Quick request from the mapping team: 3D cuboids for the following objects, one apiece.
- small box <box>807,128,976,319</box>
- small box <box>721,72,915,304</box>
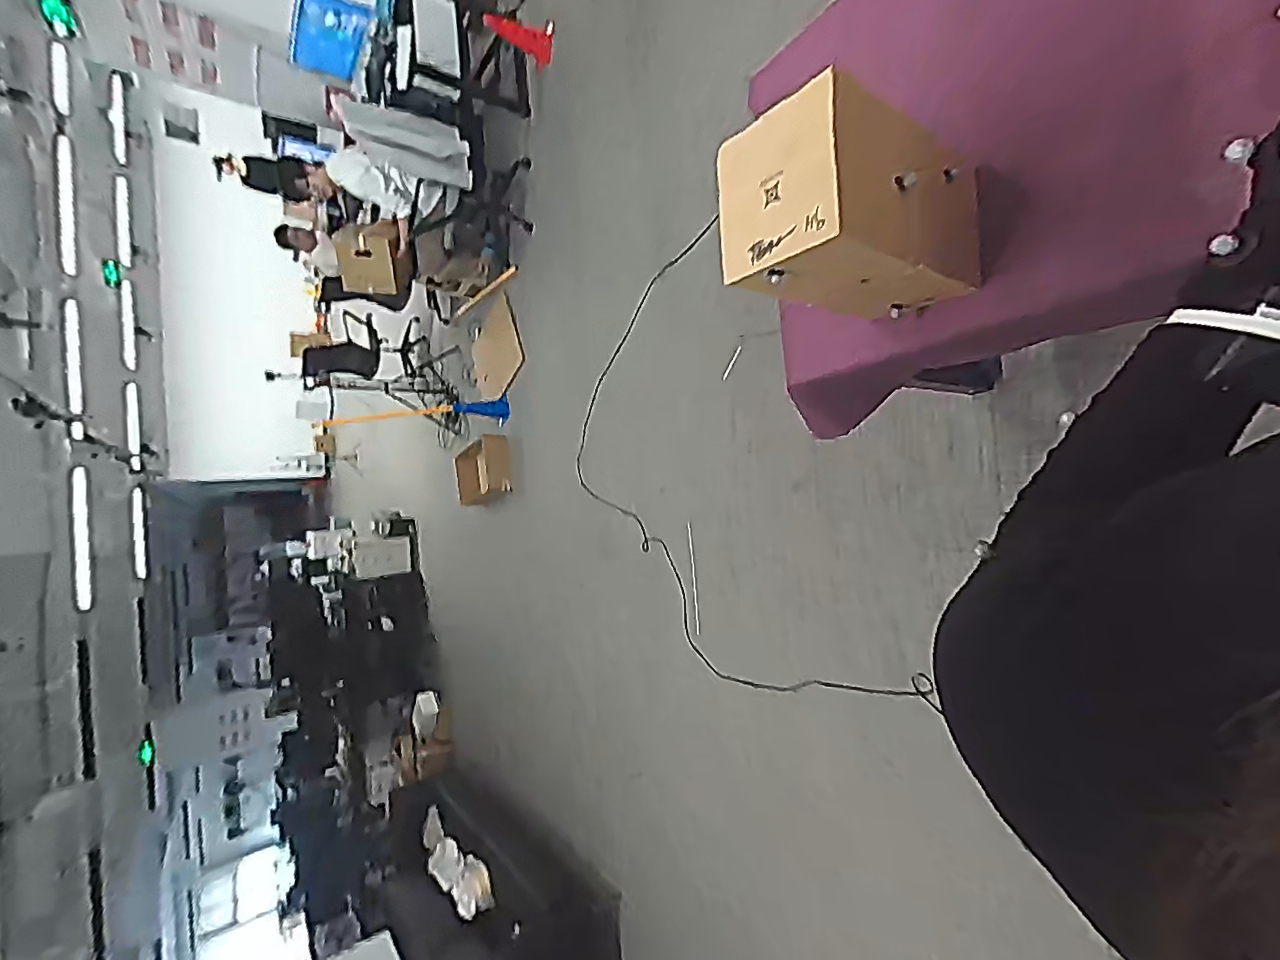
[{"bbox_3d":[0.351,-0.343,0.765,0.168,0.176,0.179,-2,91,54],"label":"small box"},{"bbox_3d":[0.218,-0.337,0.667,0.168,0.176,0.179,-3,89,55],"label":"small box"}]
